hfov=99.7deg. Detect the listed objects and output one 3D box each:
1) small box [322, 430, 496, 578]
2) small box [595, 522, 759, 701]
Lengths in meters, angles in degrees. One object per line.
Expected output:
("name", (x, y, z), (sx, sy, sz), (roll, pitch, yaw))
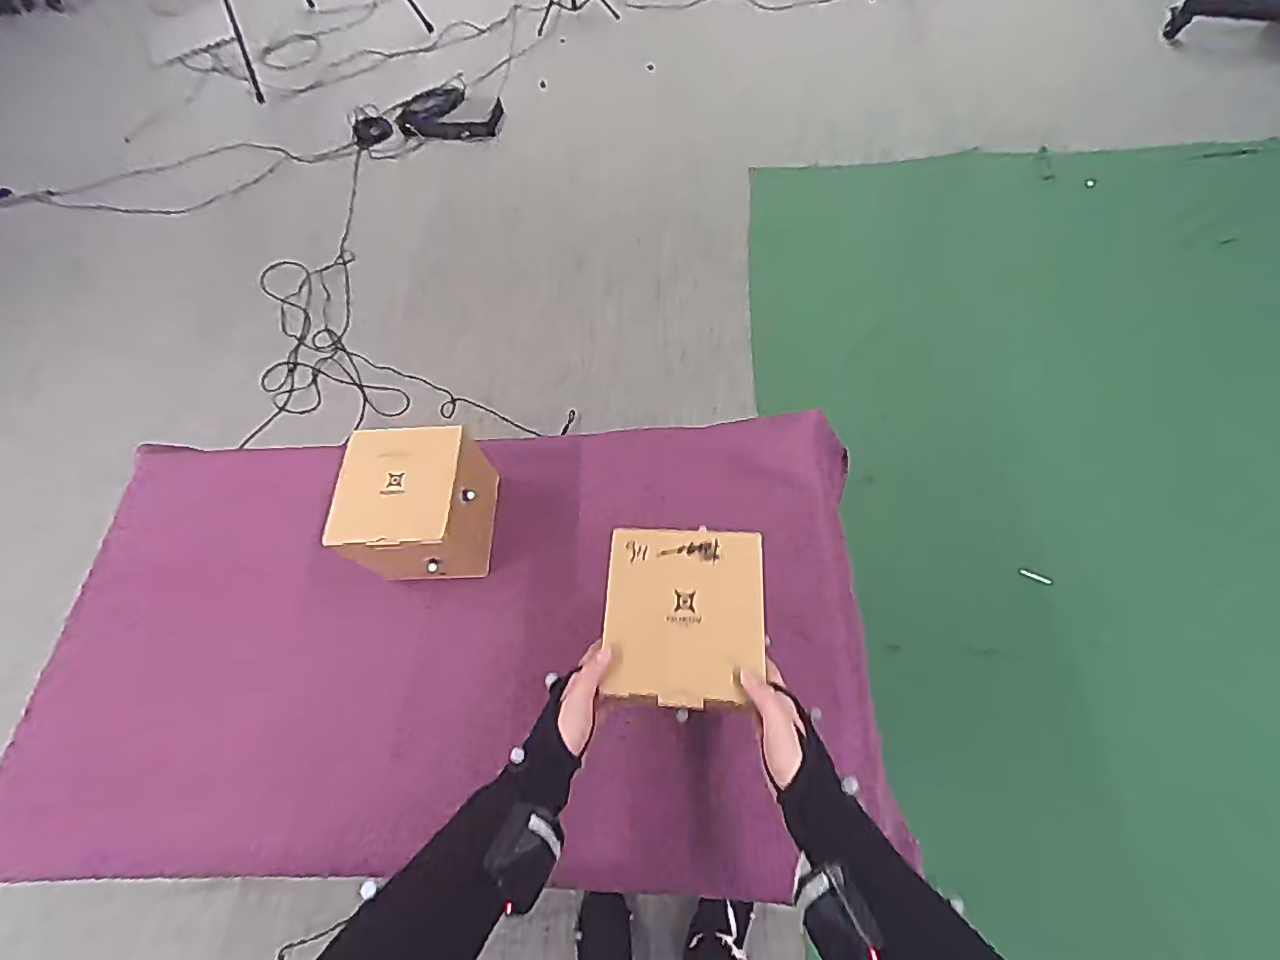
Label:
("small box", (-0.326, 0.044, 0.804), (0.168, 0.176, 0.179), (-2, 64, 5))
("small box", (0.050, 0.160, 0.635), (0.168, 0.176, 0.179), (1, 66, 7))
